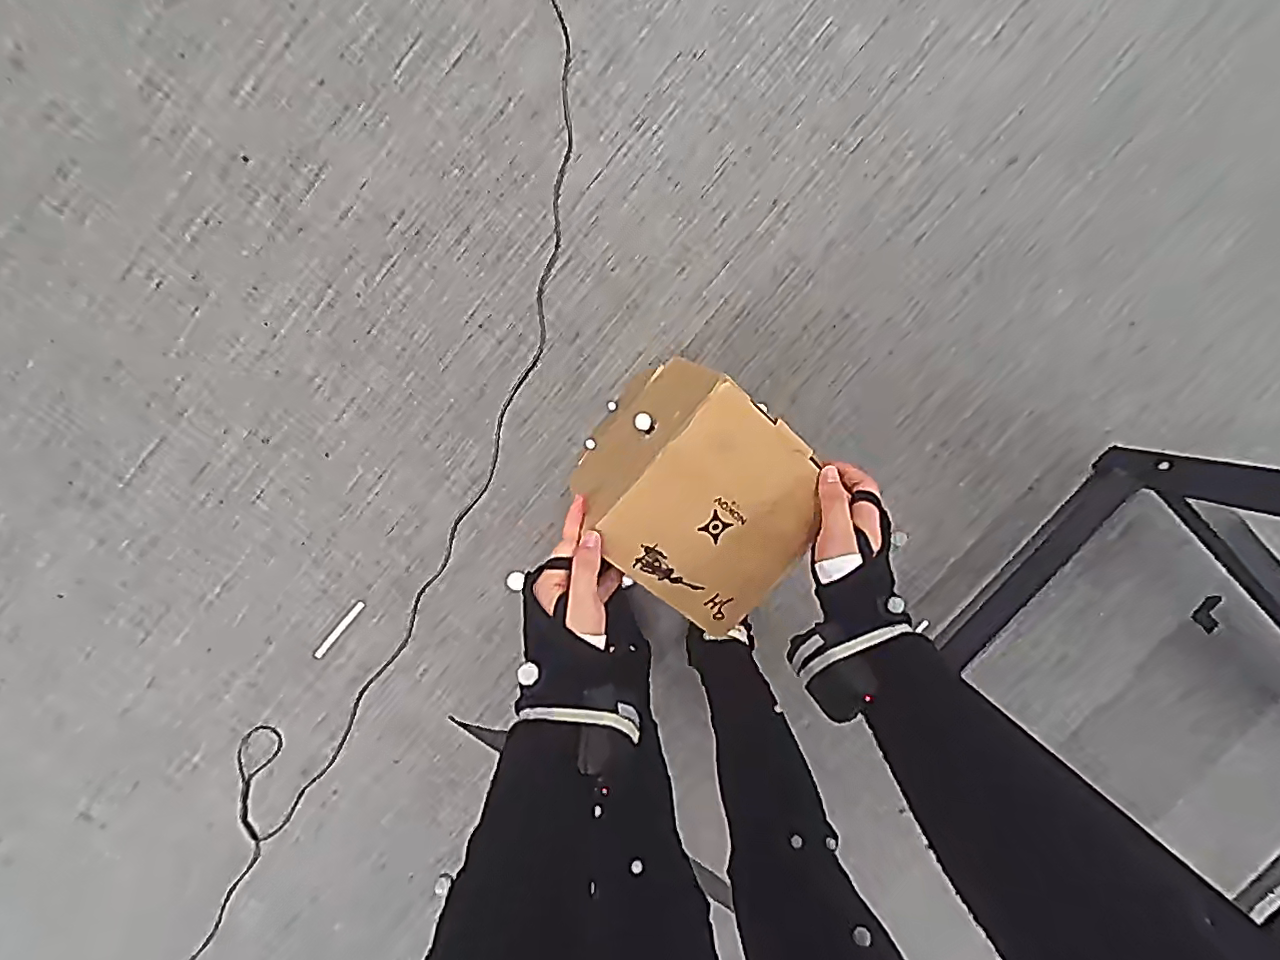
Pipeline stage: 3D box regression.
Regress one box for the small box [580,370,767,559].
[{"bbox_3d":[0.036,-0.028,0.726,0.168,0.176,0.179,33,95,-10],"label":"small box"}]
